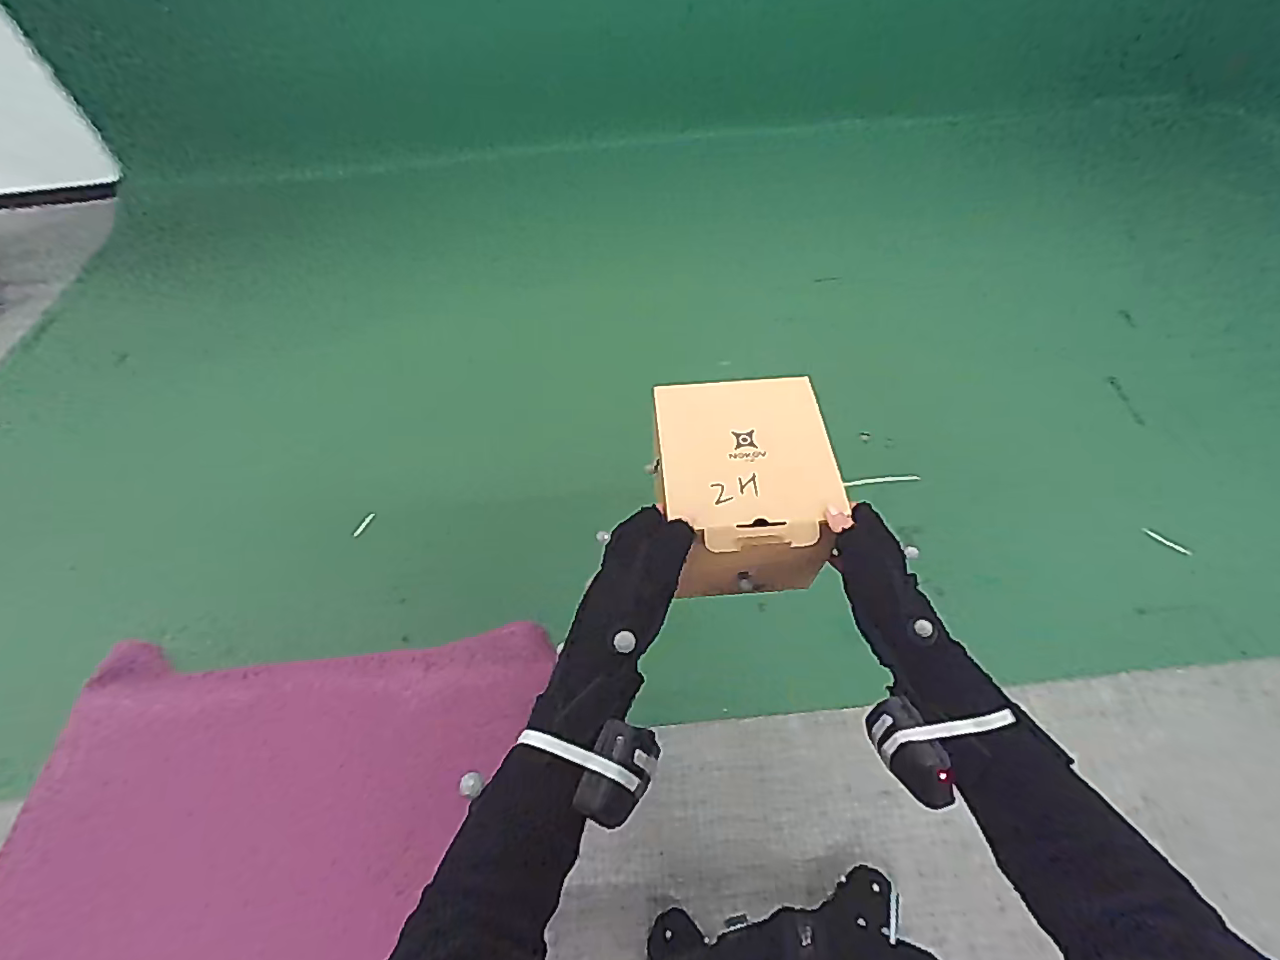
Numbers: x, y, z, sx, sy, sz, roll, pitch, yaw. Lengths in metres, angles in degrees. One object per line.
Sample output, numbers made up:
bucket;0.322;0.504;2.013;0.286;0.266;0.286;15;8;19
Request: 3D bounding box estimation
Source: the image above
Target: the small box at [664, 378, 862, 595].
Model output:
small box;0.114;0.012;0.589;0.168;0.176;0.179;-3;59;0
